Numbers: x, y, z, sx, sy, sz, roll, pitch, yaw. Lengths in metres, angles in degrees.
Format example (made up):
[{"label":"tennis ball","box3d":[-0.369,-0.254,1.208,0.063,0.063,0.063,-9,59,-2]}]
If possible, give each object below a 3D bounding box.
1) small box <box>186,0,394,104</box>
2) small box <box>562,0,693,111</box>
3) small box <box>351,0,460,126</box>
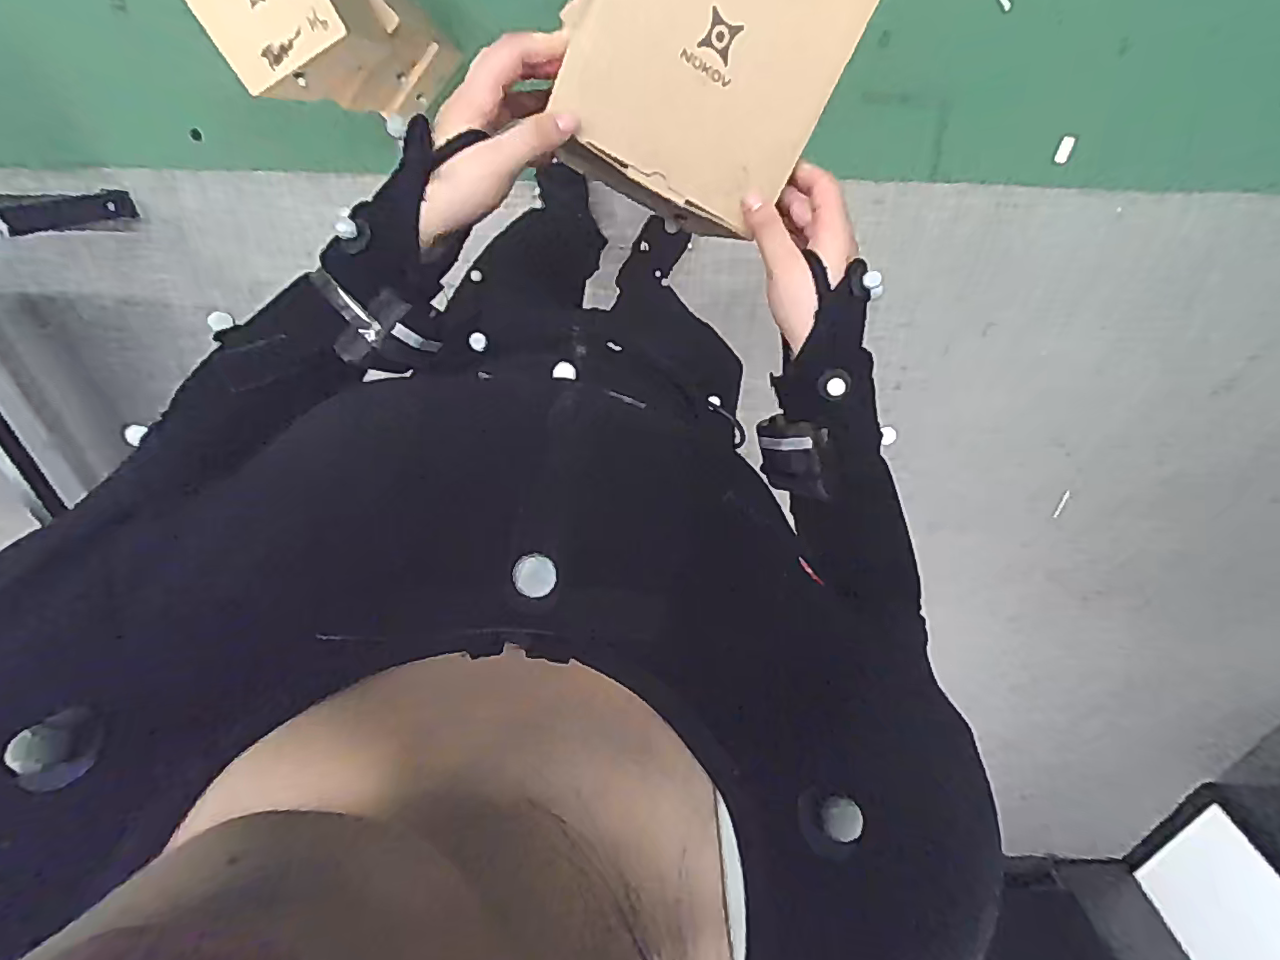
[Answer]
[{"label":"small box","box3d":[-0.475,-0.642,0.731,0.168,0.176,0.179,-20,121,13]},{"label":"small box","box3d":[-0.023,-0.821,1.005,0.168,0.176,0.179,-32,119,19]},{"label":"small box","box3d":[-0.469,-0.807,1.015,0.168,0.176,0.179,-38,115,22]}]
